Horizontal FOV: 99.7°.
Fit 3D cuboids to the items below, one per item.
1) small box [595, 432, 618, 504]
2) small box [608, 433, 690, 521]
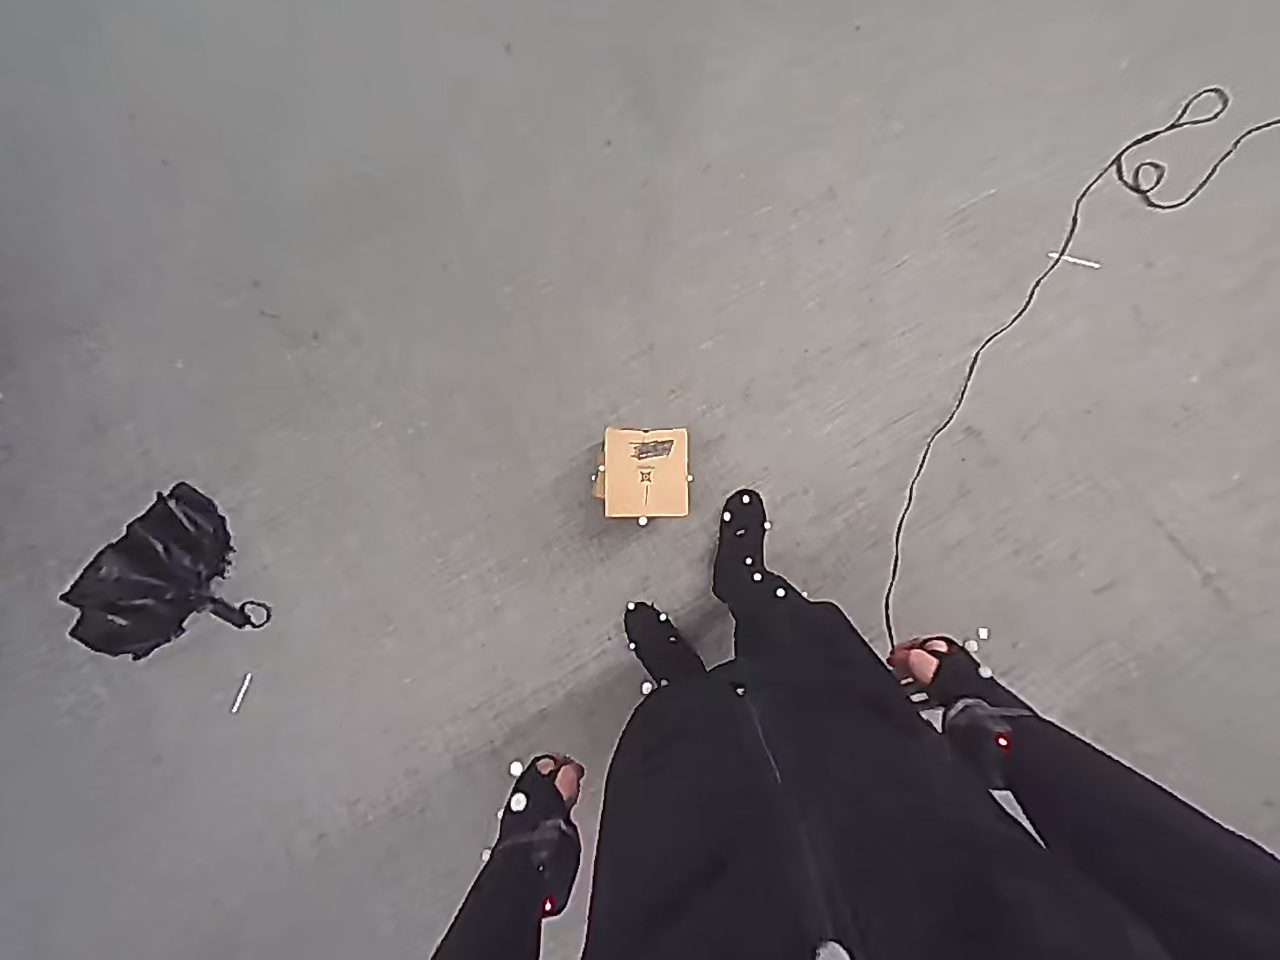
[{"bbox_3d":[-0.002,-0.009,1.317,0.179,0.176,0.168,12,86,-1],"label":"small box"},{"bbox_3d":[0.017,-0.001,1.151,0.168,0.176,0.179,0,87,0],"label":"small box"}]
